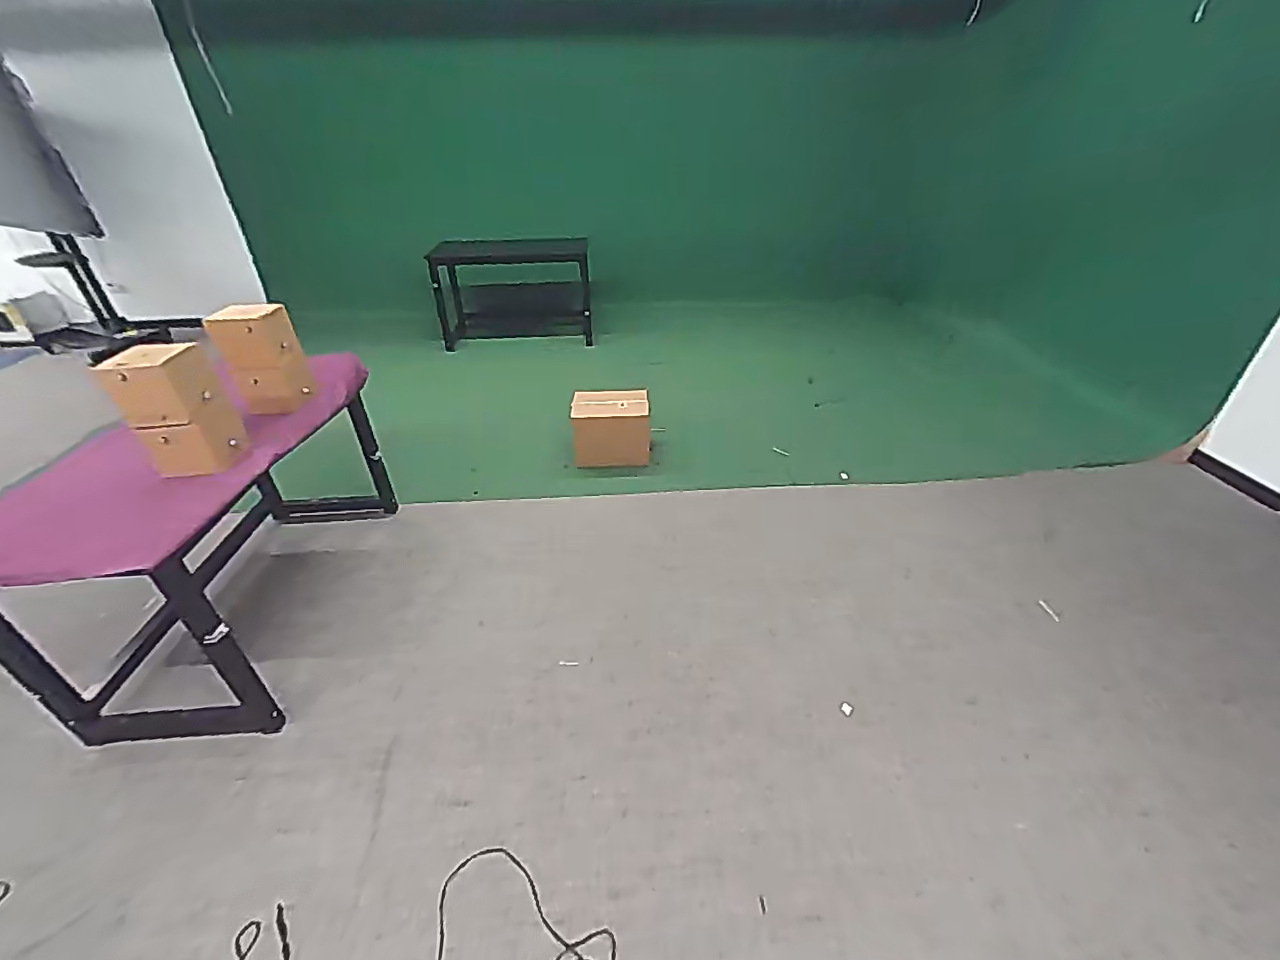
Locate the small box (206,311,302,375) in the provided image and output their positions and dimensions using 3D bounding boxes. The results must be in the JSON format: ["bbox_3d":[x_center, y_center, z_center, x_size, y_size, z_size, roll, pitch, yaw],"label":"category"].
[{"bbox_3d":[-1.281,-0.456,1.807,0.179,0.176,0.168,-3,33,-2],"label":"small box"}]

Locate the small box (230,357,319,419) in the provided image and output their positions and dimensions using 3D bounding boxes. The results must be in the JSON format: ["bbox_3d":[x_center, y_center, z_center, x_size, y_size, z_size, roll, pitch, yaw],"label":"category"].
[{"bbox_3d":[-1.272,-0.320,1.895,0.179,0.176,0.168,-2,33,-2],"label":"small box"}]

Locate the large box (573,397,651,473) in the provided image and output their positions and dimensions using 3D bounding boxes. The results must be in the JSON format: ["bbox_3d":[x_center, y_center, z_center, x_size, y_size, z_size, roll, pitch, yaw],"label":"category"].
[{"bbox_3d":[-0.149,-0.245,2.942,0.408,0.320,0.320,-1,33,-1],"label":"large box"}]

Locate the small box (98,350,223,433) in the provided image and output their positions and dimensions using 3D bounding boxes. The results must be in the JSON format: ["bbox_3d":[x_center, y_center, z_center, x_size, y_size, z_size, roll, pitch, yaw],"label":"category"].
[{"bbox_3d":[-1.287,-0.243,1.472,0.168,0.176,0.179,-5,32,-2],"label":"small box"}]

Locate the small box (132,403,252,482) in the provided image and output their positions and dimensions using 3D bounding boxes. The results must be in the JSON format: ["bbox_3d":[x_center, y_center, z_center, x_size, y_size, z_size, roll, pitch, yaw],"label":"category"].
[{"bbox_3d":[-1.282,-0.106,1.562,0.179,0.176,0.168,-5,33,-2],"label":"small box"}]
